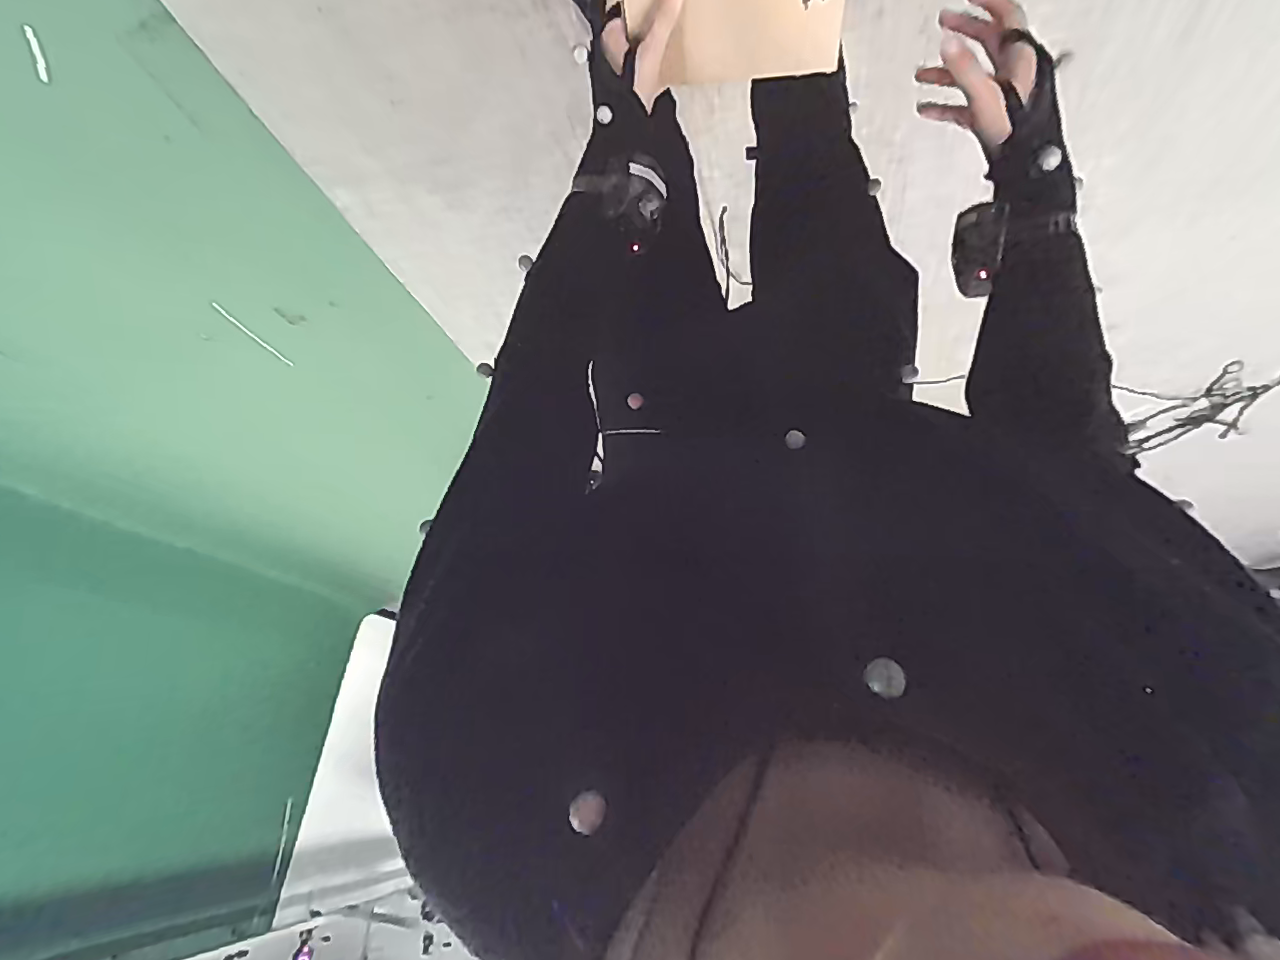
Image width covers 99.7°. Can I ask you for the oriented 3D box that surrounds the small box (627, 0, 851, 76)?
[{"bbox_3d":[0.088,-0.454,0.439,0.179,0.176,0.168,6,142,13],"label":"small box"}]
